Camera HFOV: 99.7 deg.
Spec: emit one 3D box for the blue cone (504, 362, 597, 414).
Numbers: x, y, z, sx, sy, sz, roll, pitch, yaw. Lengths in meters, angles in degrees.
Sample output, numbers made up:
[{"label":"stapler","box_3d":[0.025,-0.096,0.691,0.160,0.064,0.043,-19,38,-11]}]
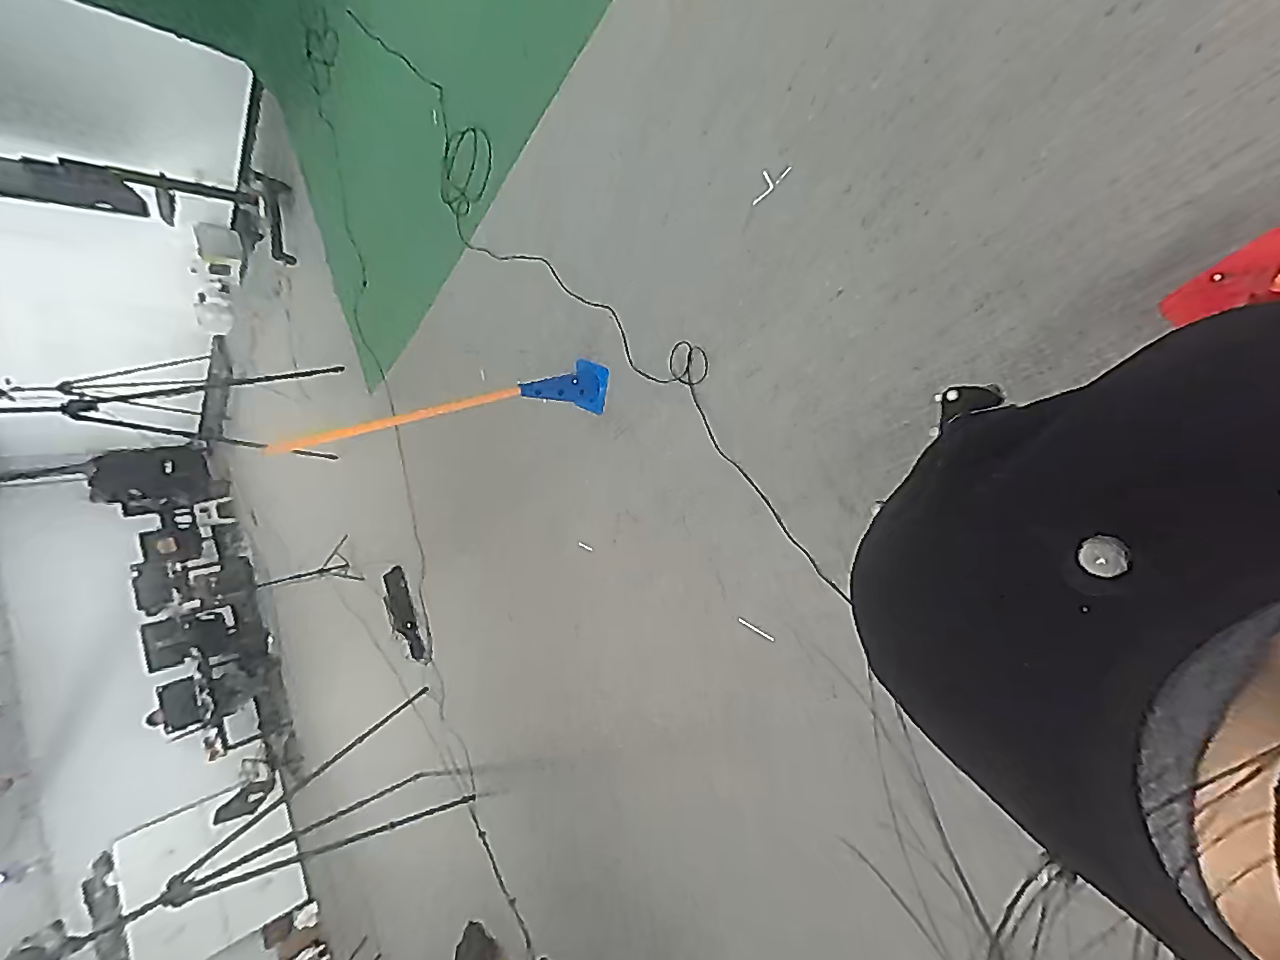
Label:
[{"label":"blue cone","box_3d":[-0.358,-0.351,2.115,0.192,0.380,0.193,26,116,36]}]
